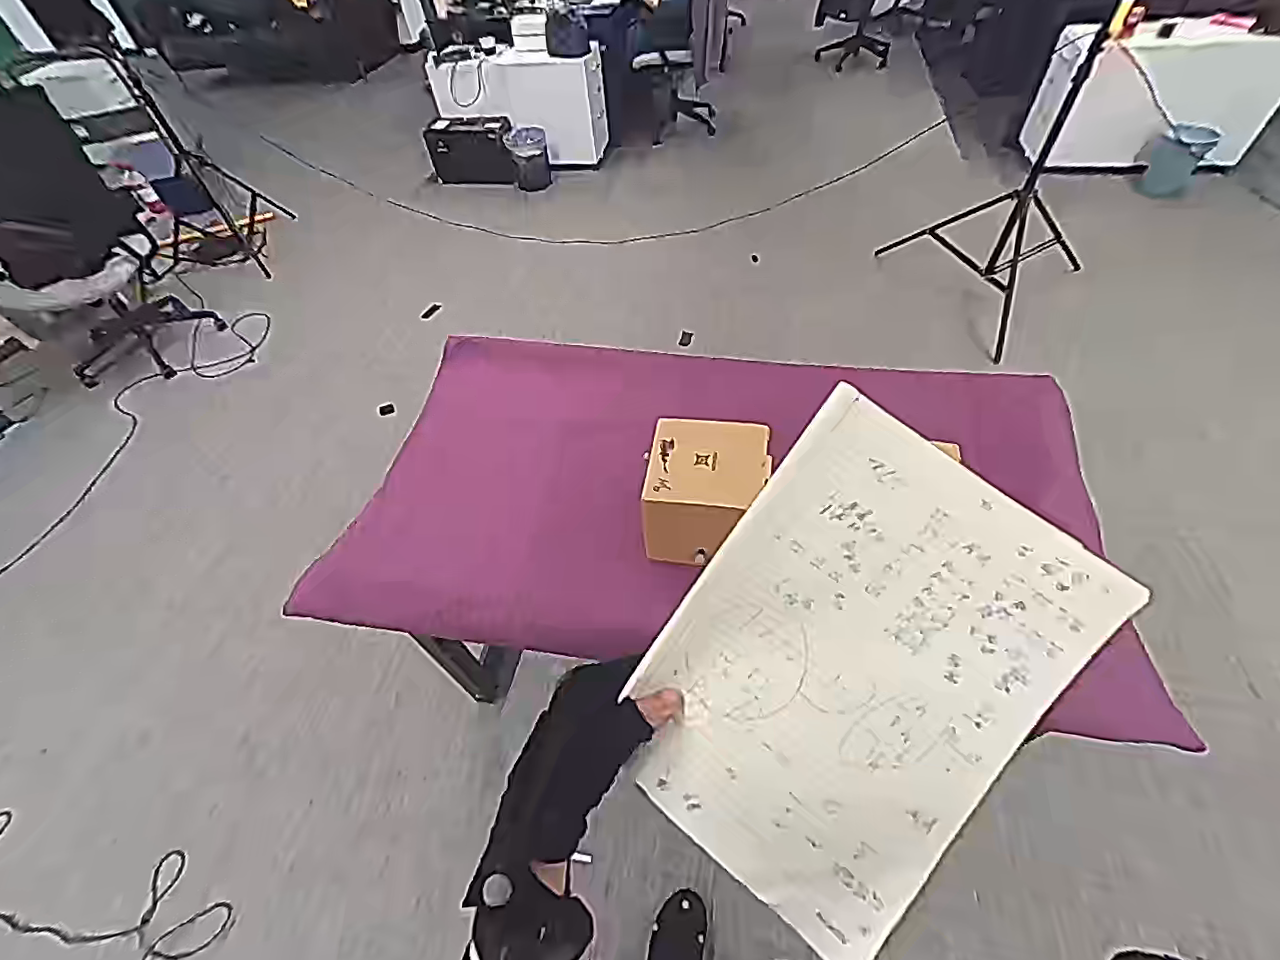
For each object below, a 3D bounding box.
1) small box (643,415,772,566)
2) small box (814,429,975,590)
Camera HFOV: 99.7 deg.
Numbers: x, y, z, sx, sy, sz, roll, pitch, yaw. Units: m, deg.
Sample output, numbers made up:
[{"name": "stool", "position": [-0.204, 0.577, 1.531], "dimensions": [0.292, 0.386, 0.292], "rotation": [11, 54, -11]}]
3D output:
[{"name": "small box", "position": [0.107, 0.021, 0.856], "dimensions": [0.179, 0.176, 0.168], "rotation": [6, 51, 9]}, {"name": "small box", "position": [0.368, 0.047, 0.811], "dimensions": [0.179, 0.176, 0.168], "rotation": [7, 50, 13]}]
